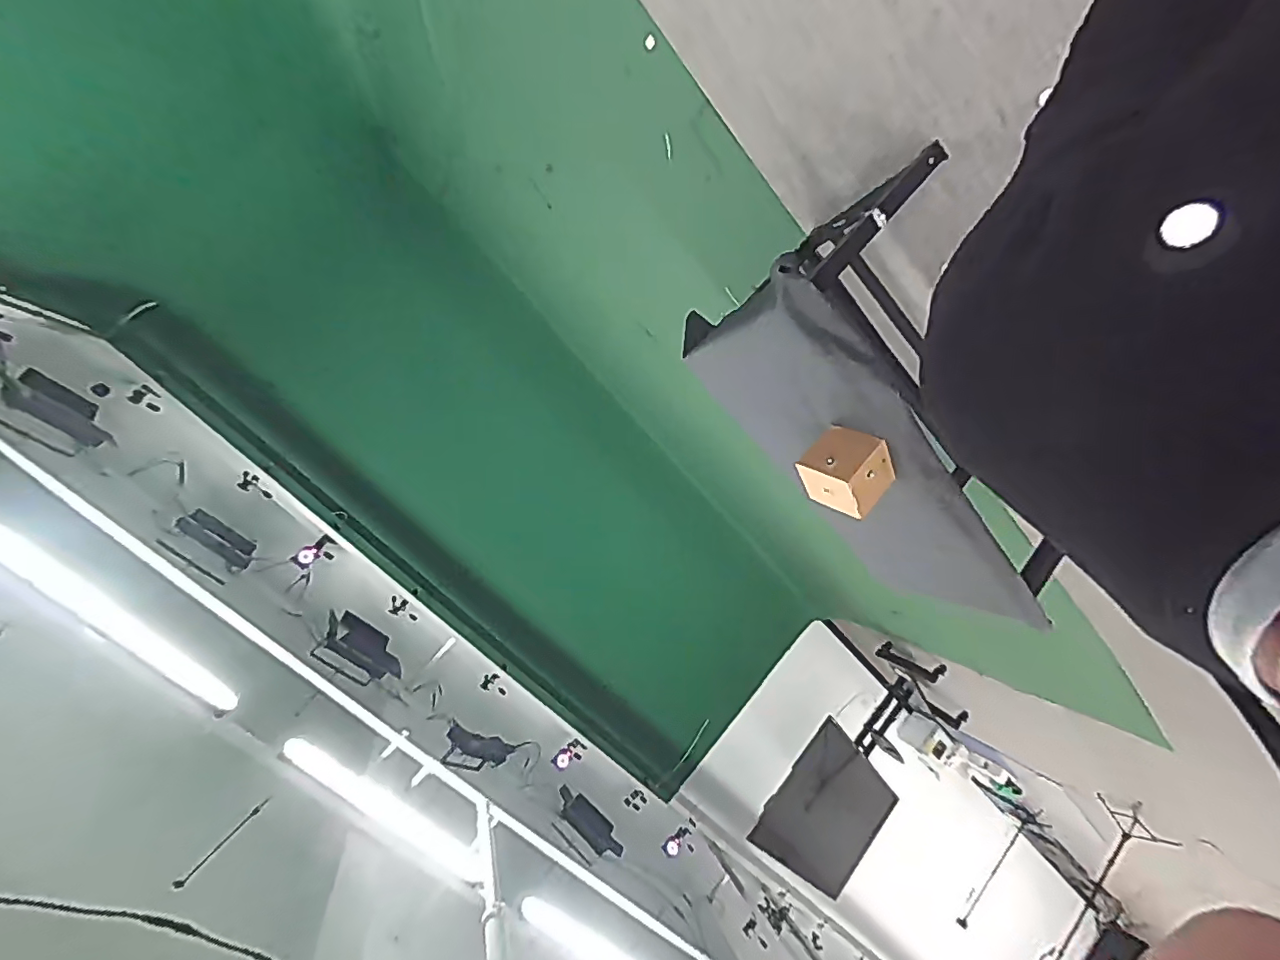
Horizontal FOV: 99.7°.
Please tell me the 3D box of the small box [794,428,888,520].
[{"bbox_3d":[0.570,-0.023,1.513,0.179,0.176,0.168,30,161,49],"label":"small box"}]
